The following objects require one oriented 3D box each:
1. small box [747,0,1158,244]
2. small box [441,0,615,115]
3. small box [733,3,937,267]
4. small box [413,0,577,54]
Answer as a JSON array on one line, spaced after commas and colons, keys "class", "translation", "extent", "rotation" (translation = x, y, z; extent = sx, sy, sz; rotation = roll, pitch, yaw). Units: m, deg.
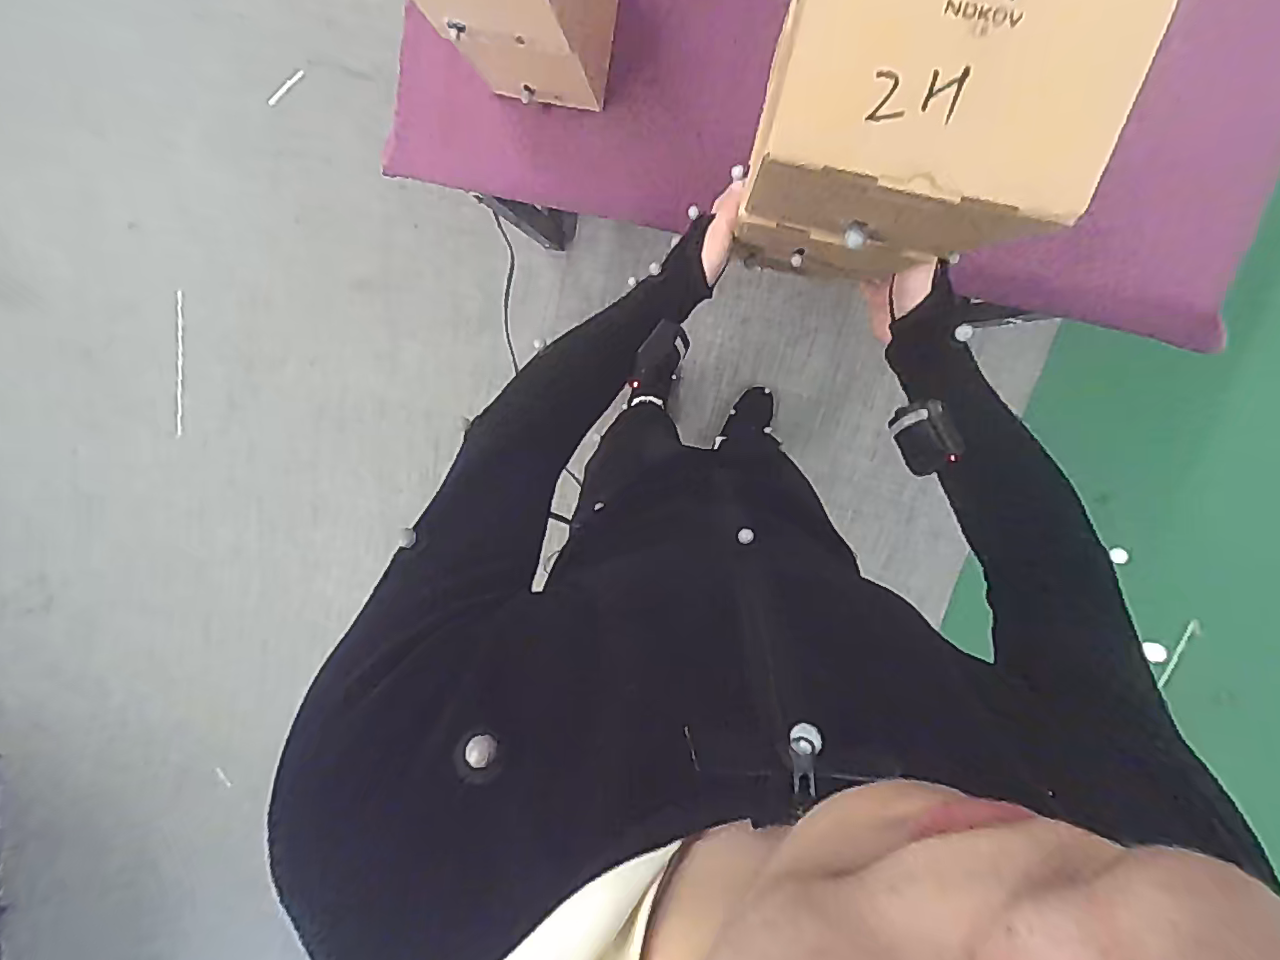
[{"class": "small box", "translation": [0.167, -0.261, 0.329], "extent": [0.168, 0.176, 0.179], "rotation": [14, 108, 3]}, {"class": "small box", "translation": [-0.133, -0.610, 0.692], "extent": [0.168, 0.176, 0.179], "rotation": [12, 104, 5]}, {"class": "small box", "translation": [0.183, -0.304, 0.487], "extent": [0.168, 0.176, 0.179], "rotation": [13, 108, 3]}, {"class": "small box", "translation": [-0.154, -0.569, 0.535], "extent": [0.168, 0.176, 0.179], "rotation": [12, 102, 5]}]
